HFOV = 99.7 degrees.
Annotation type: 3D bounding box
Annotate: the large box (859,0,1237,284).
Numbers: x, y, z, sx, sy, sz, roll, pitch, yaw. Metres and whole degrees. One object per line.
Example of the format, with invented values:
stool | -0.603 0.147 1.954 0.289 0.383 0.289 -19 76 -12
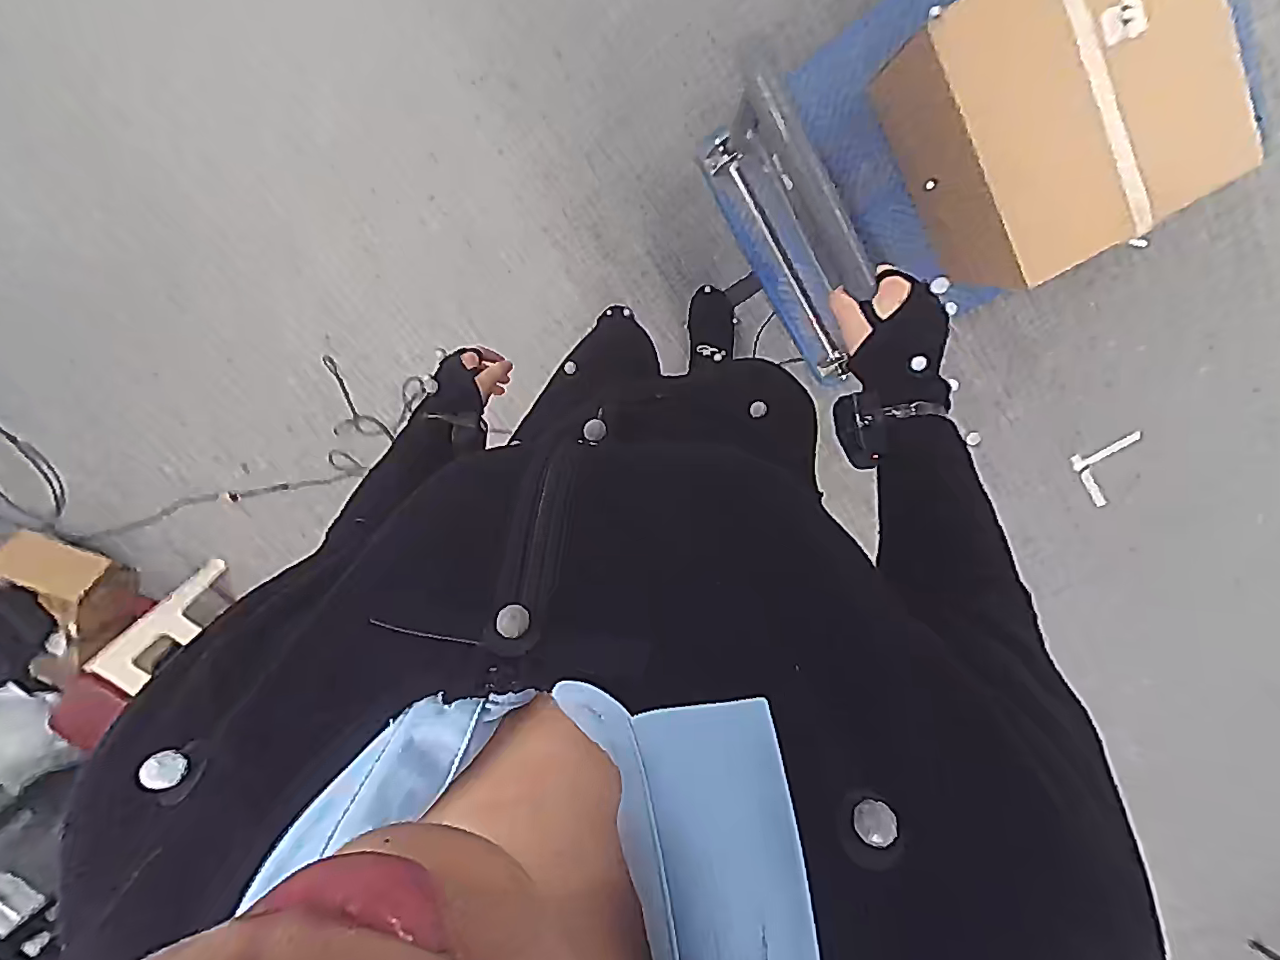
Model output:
large box | 0.627 -0.589 0.895 0.320 0.320 0.408 -30 105 16
